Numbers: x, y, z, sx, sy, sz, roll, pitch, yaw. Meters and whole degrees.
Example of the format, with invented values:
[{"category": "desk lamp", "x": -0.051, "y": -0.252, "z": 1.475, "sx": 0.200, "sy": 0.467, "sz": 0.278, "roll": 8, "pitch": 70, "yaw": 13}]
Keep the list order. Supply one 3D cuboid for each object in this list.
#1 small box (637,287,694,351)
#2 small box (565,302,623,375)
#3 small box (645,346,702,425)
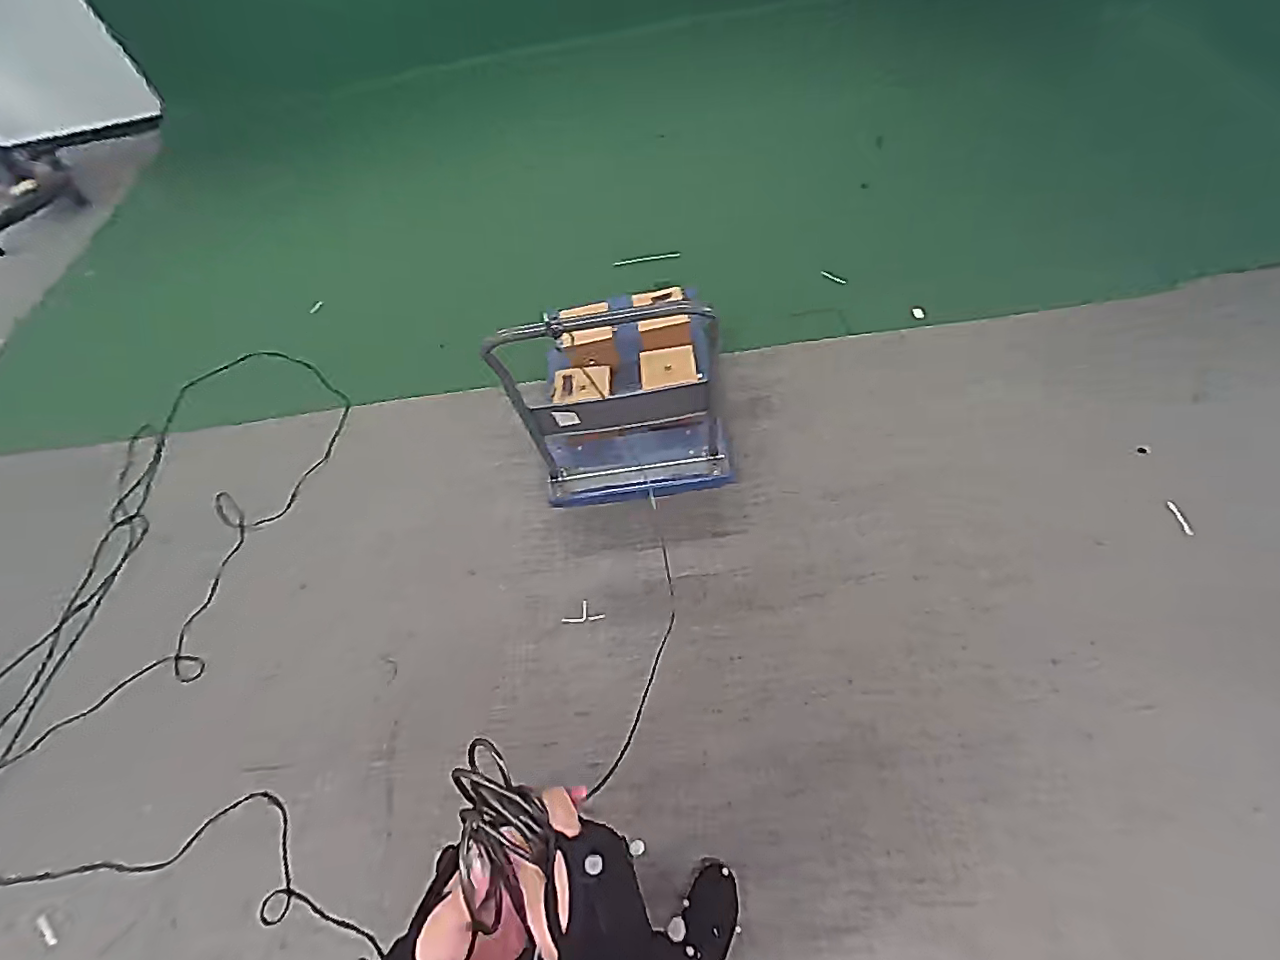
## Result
[{"category": "small box", "x": 0.090, "y": -0.526, "z": 1.855, "sx": 0.168, "sy": 0.176, "sz": 0.179, "roll": -11, "pitch": 59, "yaw": 3}, {"category": "small box", "x": -0.157, "y": -0.479, "z": 1.866, "sx": 0.168, "sy": 0.176, "sz": 0.179, "roll": -10, "pitch": 58, "yaw": 2}, {"category": "small box", "x": 0.107, "y": -0.296, "z": 1.714, "sx": 0.168, "sy": 0.176, "sz": 0.179, "roll": -6, "pitch": 59, "yaw": 5}]
